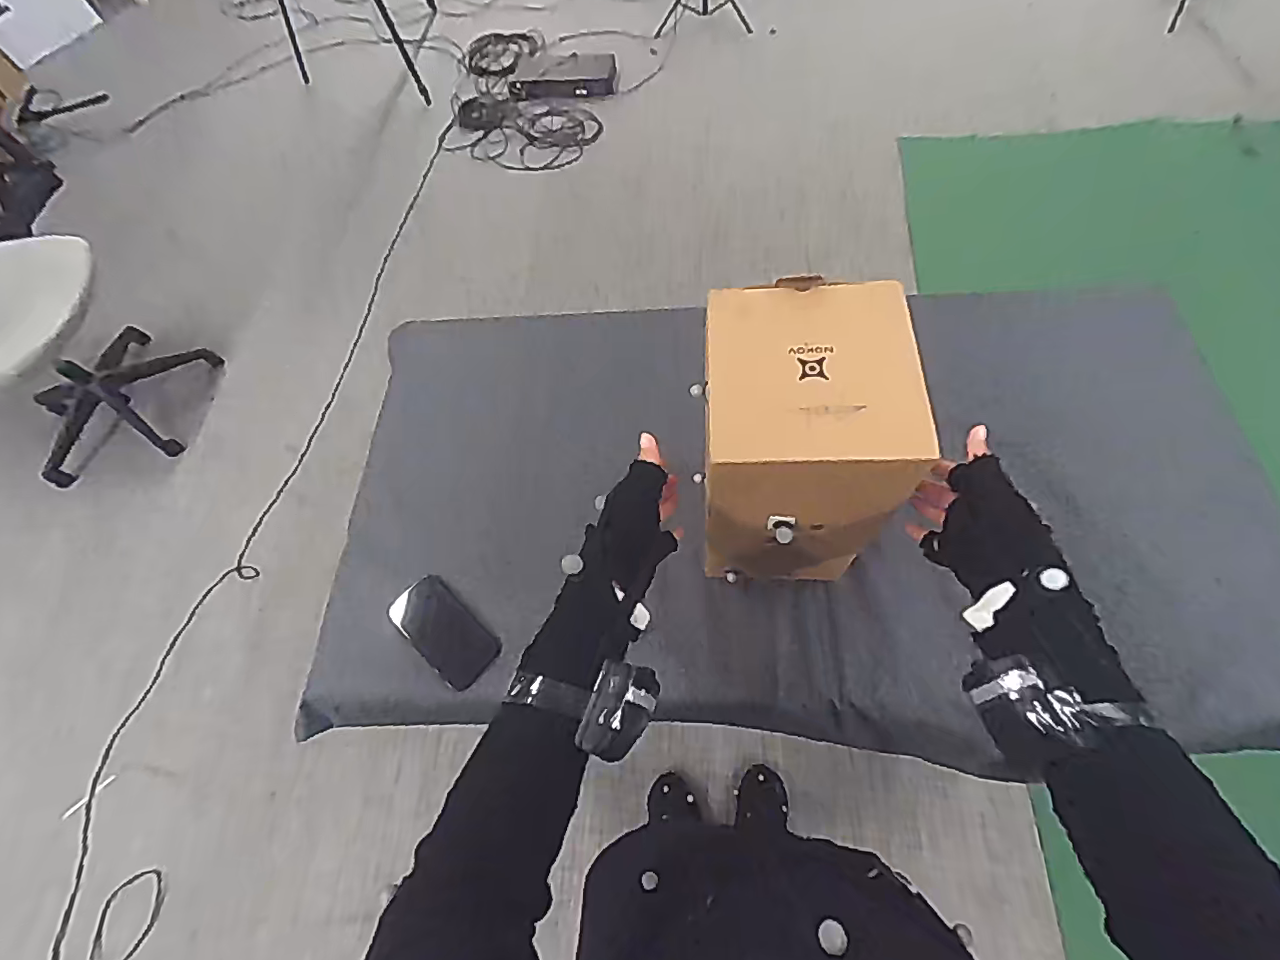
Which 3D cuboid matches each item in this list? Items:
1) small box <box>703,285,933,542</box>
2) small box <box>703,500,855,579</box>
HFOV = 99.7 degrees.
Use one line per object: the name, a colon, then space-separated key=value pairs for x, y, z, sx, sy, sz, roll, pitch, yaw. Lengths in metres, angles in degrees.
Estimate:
small box: x=0.143 y=-0.054 z=0.504 sx=0.168 sy=0.176 sz=0.179 roll=0 pitch=64 yaw=7
small box: x=0.161 y=0.014 z=0.651 sx=0.168 sy=0.176 sz=0.179 roll=0 pitch=63 yaw=7
